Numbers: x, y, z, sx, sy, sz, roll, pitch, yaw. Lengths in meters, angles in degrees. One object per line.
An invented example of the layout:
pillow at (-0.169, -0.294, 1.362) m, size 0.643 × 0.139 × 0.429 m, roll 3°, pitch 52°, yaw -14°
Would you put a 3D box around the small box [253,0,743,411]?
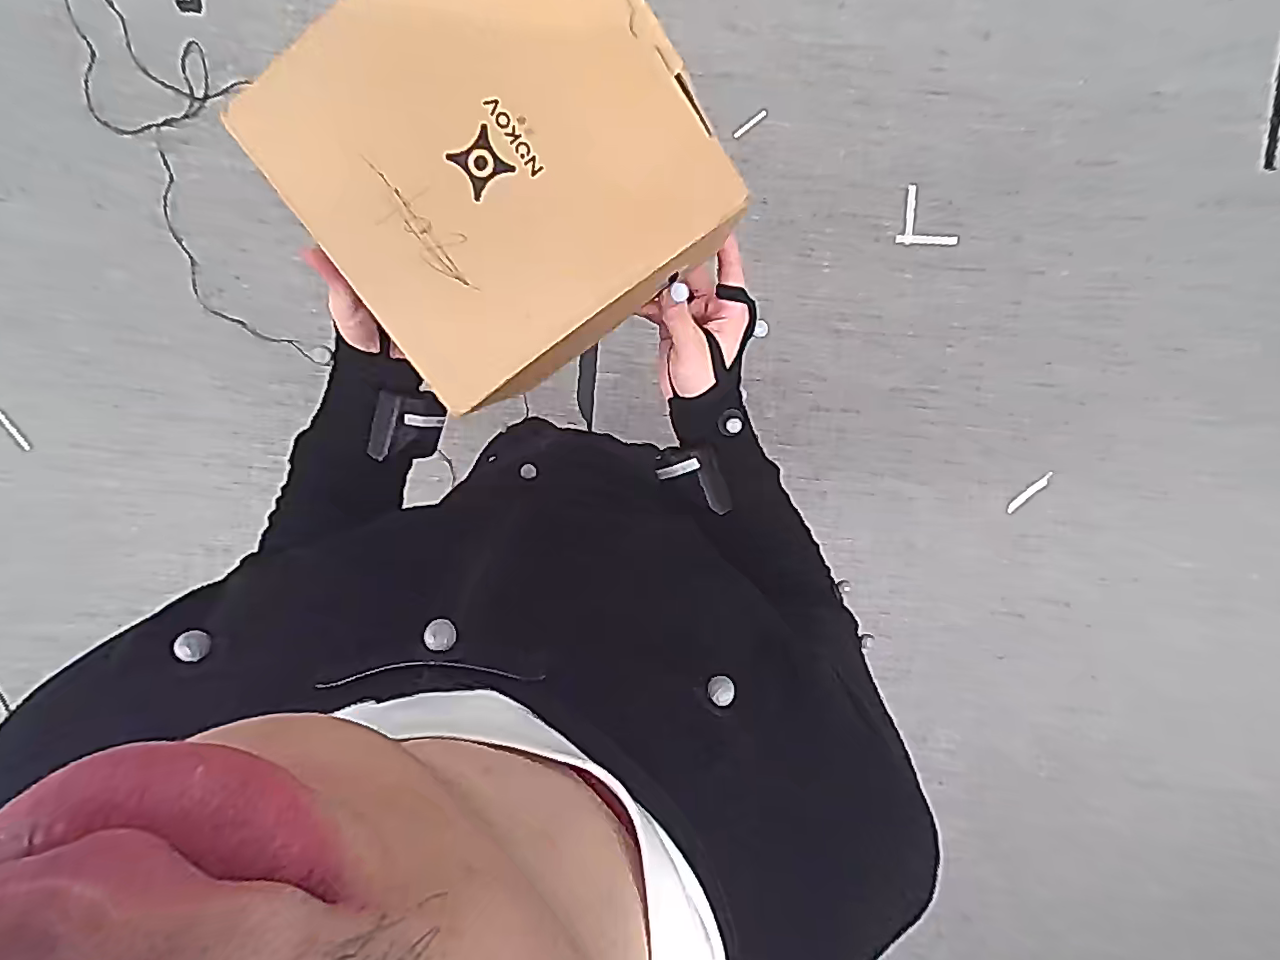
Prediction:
small box at (-0.065, -0.165, 0.331) m, size 0.179 × 0.176 × 0.168 m, roll -36°, pitch 99°, yaw 9°
